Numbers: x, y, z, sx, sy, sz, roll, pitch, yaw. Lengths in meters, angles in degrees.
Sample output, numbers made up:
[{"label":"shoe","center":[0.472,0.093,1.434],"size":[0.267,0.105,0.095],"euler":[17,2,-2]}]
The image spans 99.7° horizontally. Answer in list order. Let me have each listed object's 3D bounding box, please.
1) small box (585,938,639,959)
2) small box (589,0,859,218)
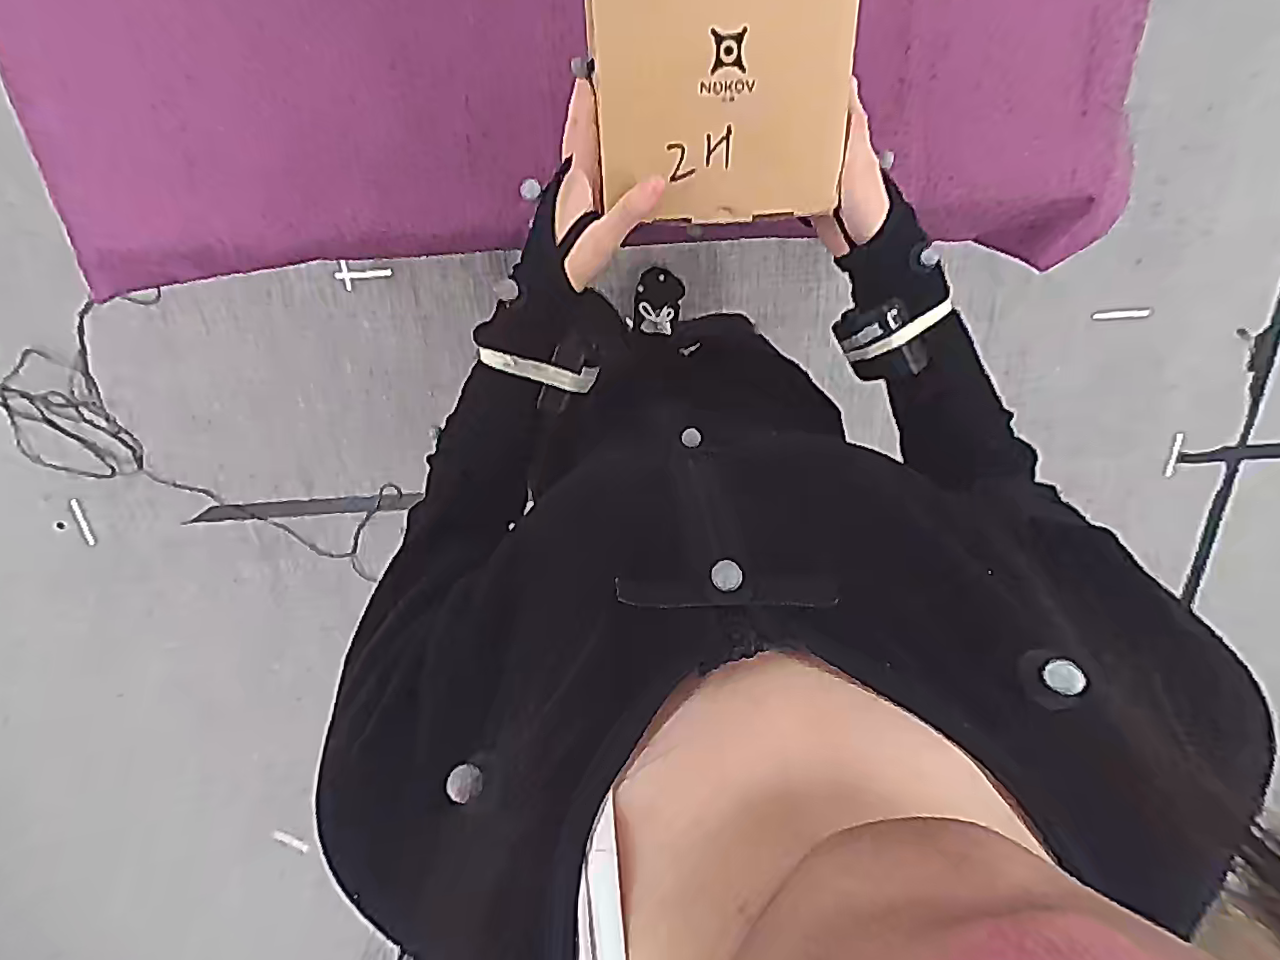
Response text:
[{"label":"small box","center":[-0.088,1.622,1.746],"size":[0.179,0.176,0.168],"euler":[-5,110,0]},{"label":"small box","center":[0.048,-0.302,0.413],"size":[0.168,0.176,0.179],"euler":[-4,115,-3]}]
